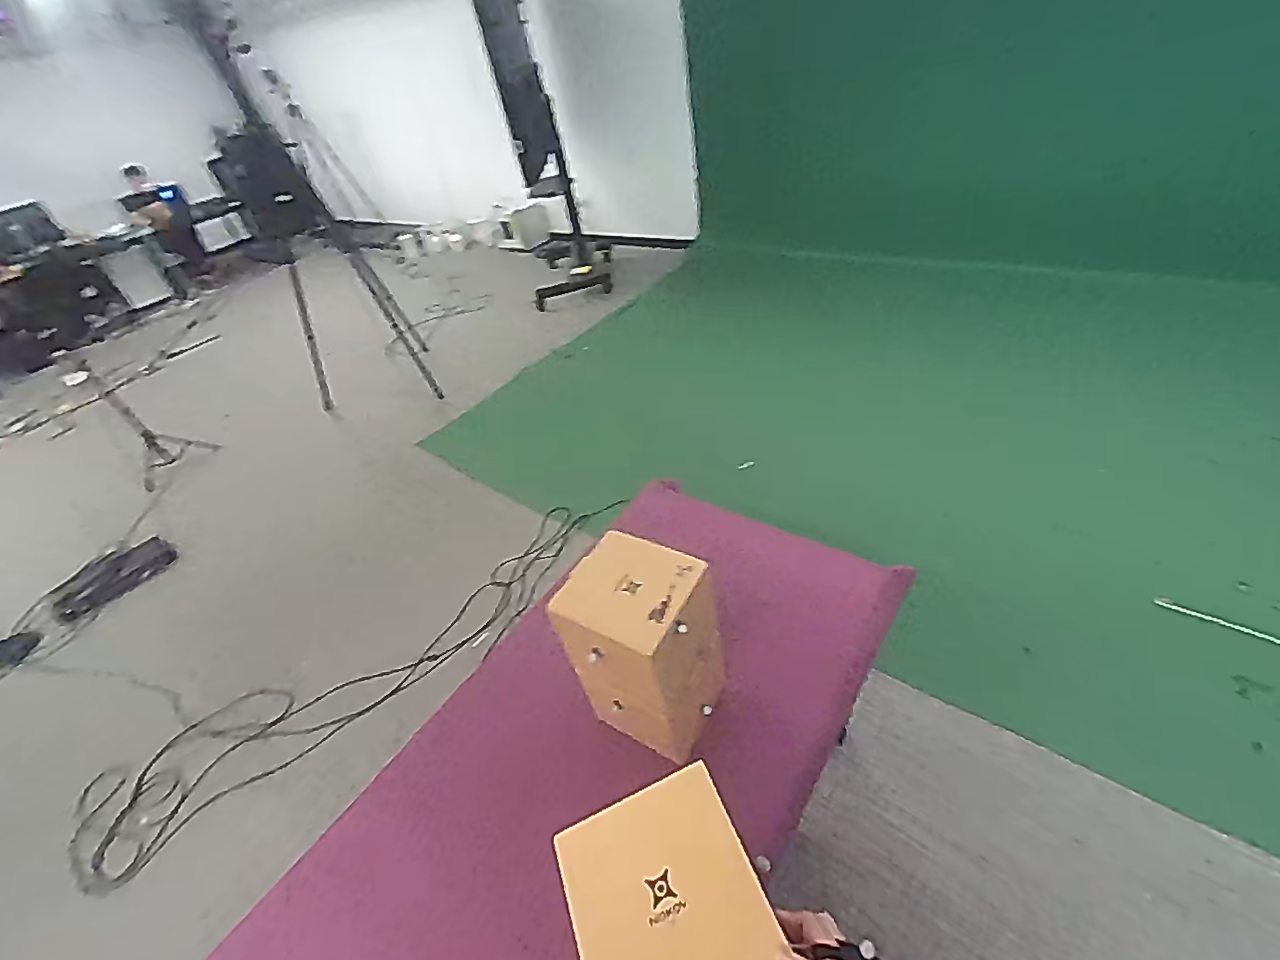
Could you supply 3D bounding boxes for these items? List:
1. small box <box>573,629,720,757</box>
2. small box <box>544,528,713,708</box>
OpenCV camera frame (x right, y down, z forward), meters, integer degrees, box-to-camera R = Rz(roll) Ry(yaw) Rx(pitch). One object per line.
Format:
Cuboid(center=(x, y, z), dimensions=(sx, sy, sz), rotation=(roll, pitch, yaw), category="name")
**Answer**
Cuboid(center=(0.019, 0.326, 0.906), dimensions=(0.179, 0.176, 0.168), rotation=(17, 49, 30), category="small box")
Cuboid(center=(-0.008, 0.203, 0.801), dimensions=(0.179, 0.176, 0.168), rotation=(15, 48, 30), category="small box")
